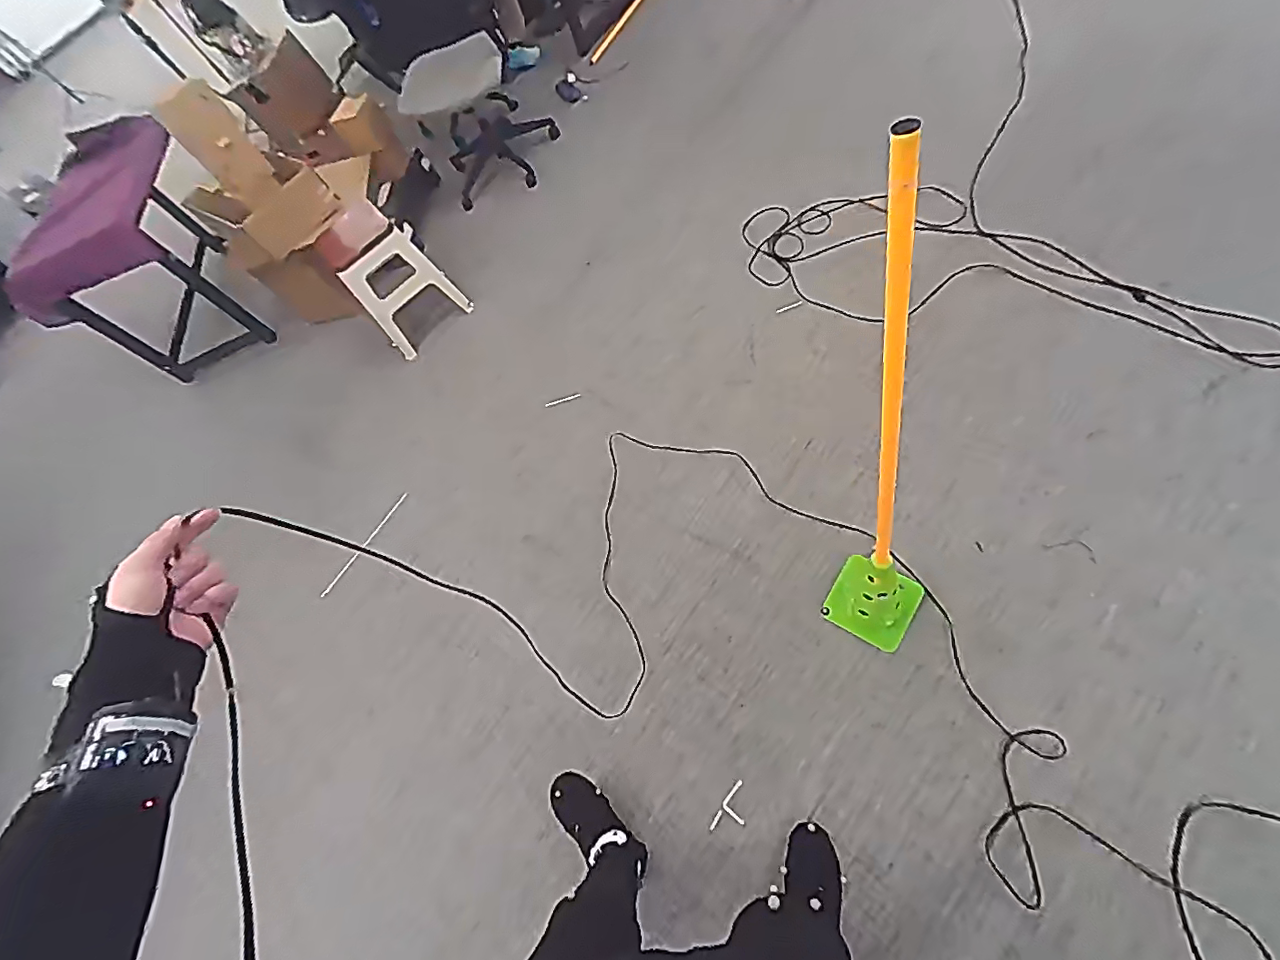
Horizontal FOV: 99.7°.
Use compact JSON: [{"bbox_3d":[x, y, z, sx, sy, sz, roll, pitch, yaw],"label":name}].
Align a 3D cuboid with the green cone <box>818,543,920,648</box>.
[{"bbox_3d":[0.546,0.232,1.259,0.200,0.368,0.202,26,74,28],"label":"green cone"}]
